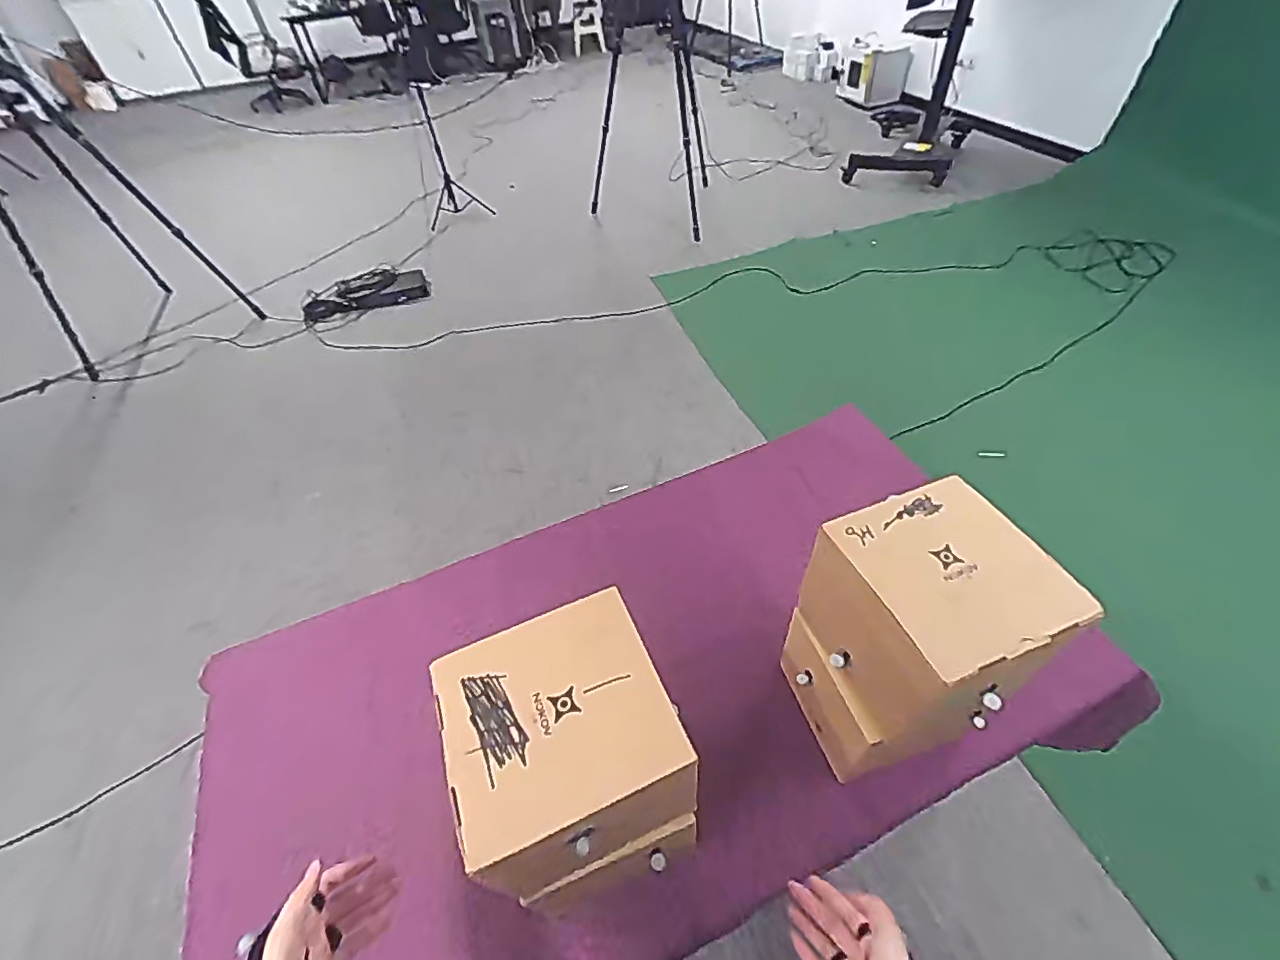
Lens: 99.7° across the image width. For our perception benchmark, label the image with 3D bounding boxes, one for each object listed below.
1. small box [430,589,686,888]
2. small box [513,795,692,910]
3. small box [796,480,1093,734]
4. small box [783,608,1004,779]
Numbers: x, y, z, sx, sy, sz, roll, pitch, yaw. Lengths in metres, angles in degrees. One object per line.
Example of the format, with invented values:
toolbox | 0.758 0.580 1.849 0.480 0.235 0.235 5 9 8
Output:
small box | -0.067 0.236 0.493 0.179 0.176 0.168 -20 50 -13
small box | -0.052 0.351 0.611 0.179 0.176 0.168 -18 49 -10
small box | 0.283 0.135 0.552 0.168 0.176 0.179 -18 50 -11
small box | 0.292 0.246 0.673 0.179 0.176 0.168 -15 49 -8
